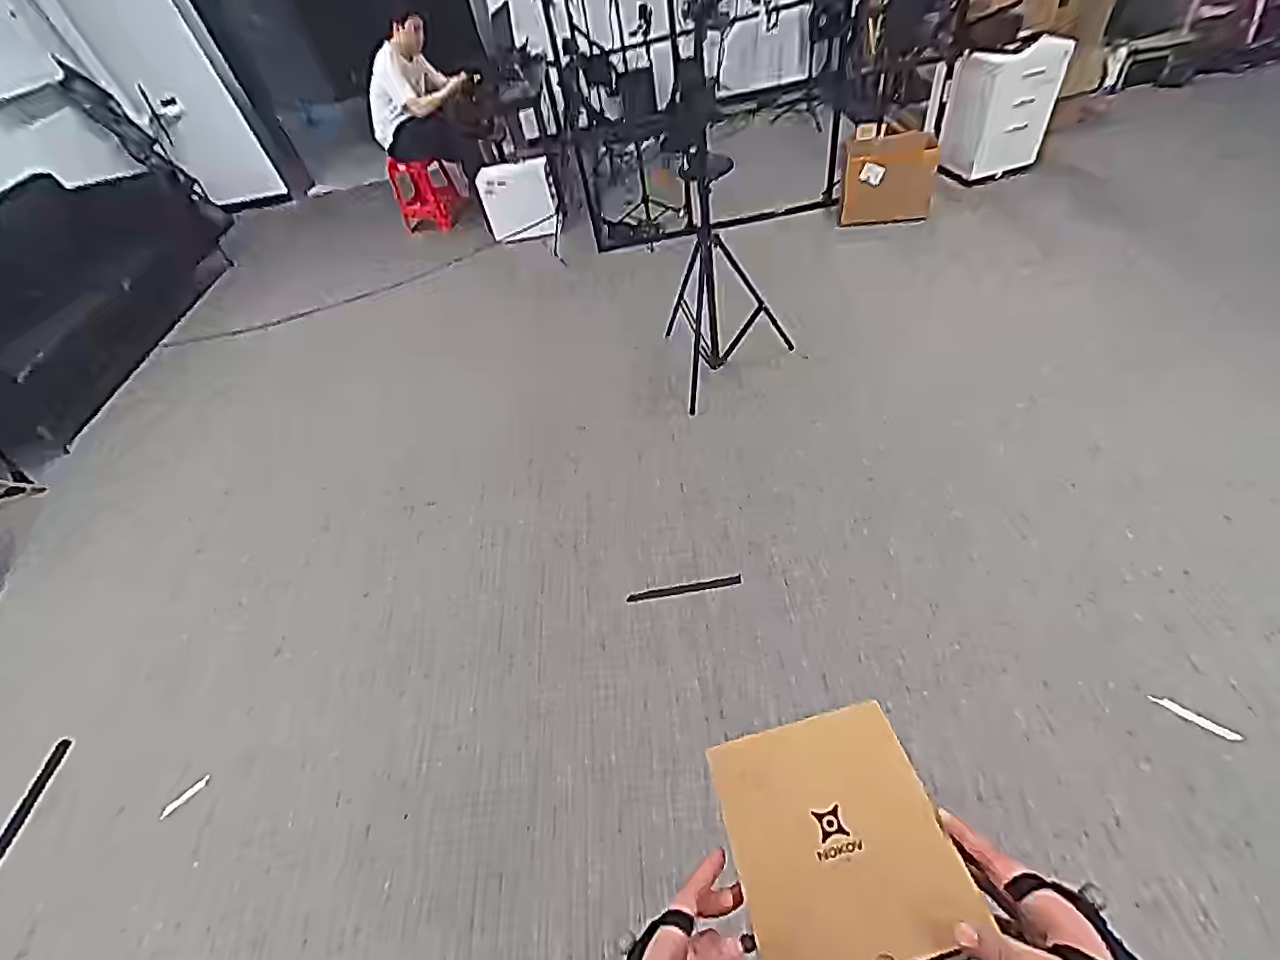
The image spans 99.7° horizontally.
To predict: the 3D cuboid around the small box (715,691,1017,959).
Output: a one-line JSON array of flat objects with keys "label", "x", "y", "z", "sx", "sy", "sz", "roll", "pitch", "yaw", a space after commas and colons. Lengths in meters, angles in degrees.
[{"label": "small box", "x": 0.176, "y": 0.323, "z": 0.477, "sx": 0.168, "sy": 0.176, "sz": 0.179, "roll": -18, "pitch": 44, "yaw": 0}]
